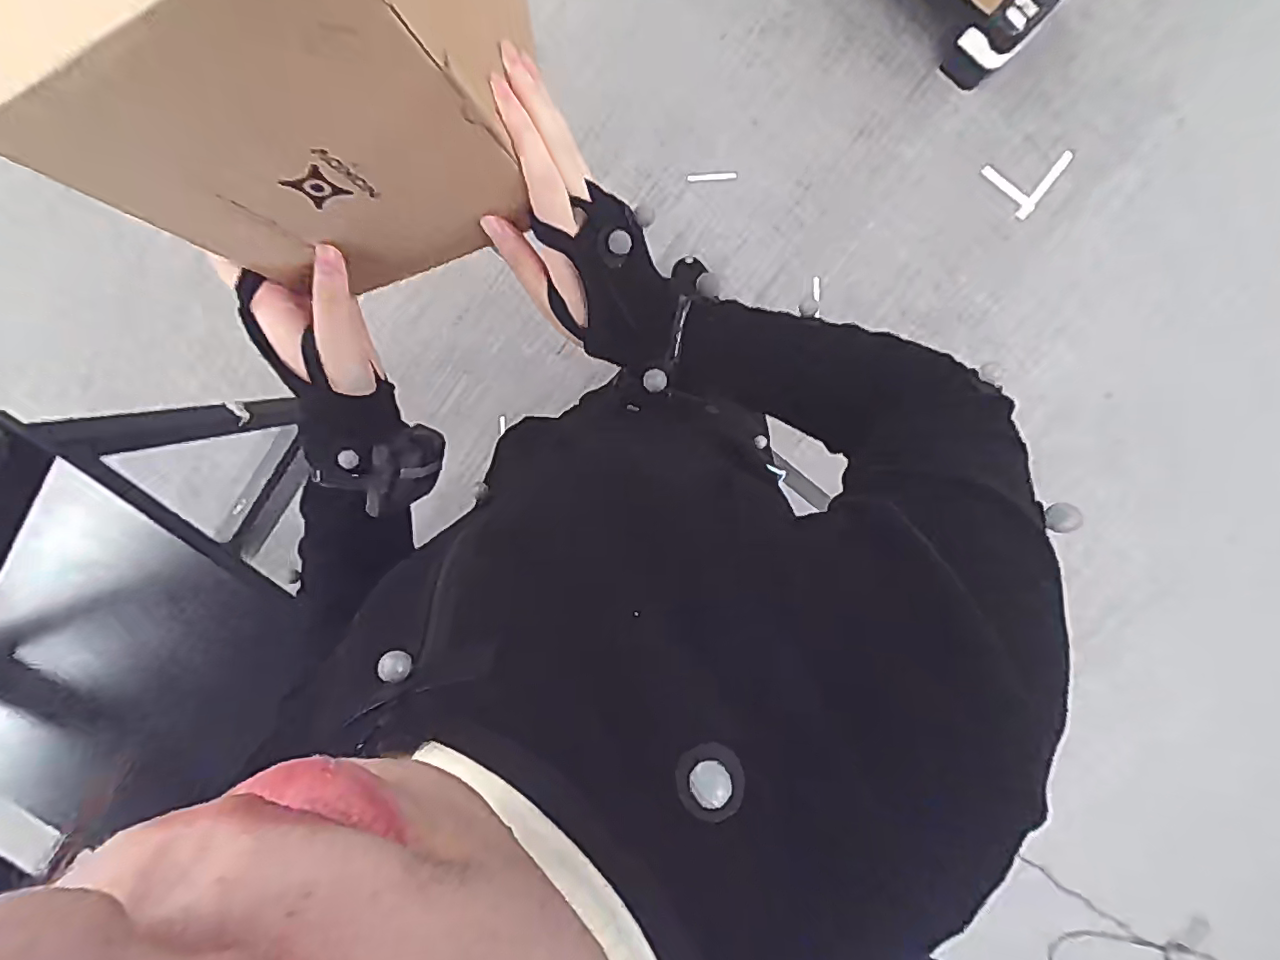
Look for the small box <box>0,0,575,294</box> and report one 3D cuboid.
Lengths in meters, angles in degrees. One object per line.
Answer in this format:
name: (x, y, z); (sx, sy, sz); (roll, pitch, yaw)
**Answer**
small box: (-0.152, -0.224, 0.262); (0.179, 0.168, 0.176); (-11, 81, 16)
